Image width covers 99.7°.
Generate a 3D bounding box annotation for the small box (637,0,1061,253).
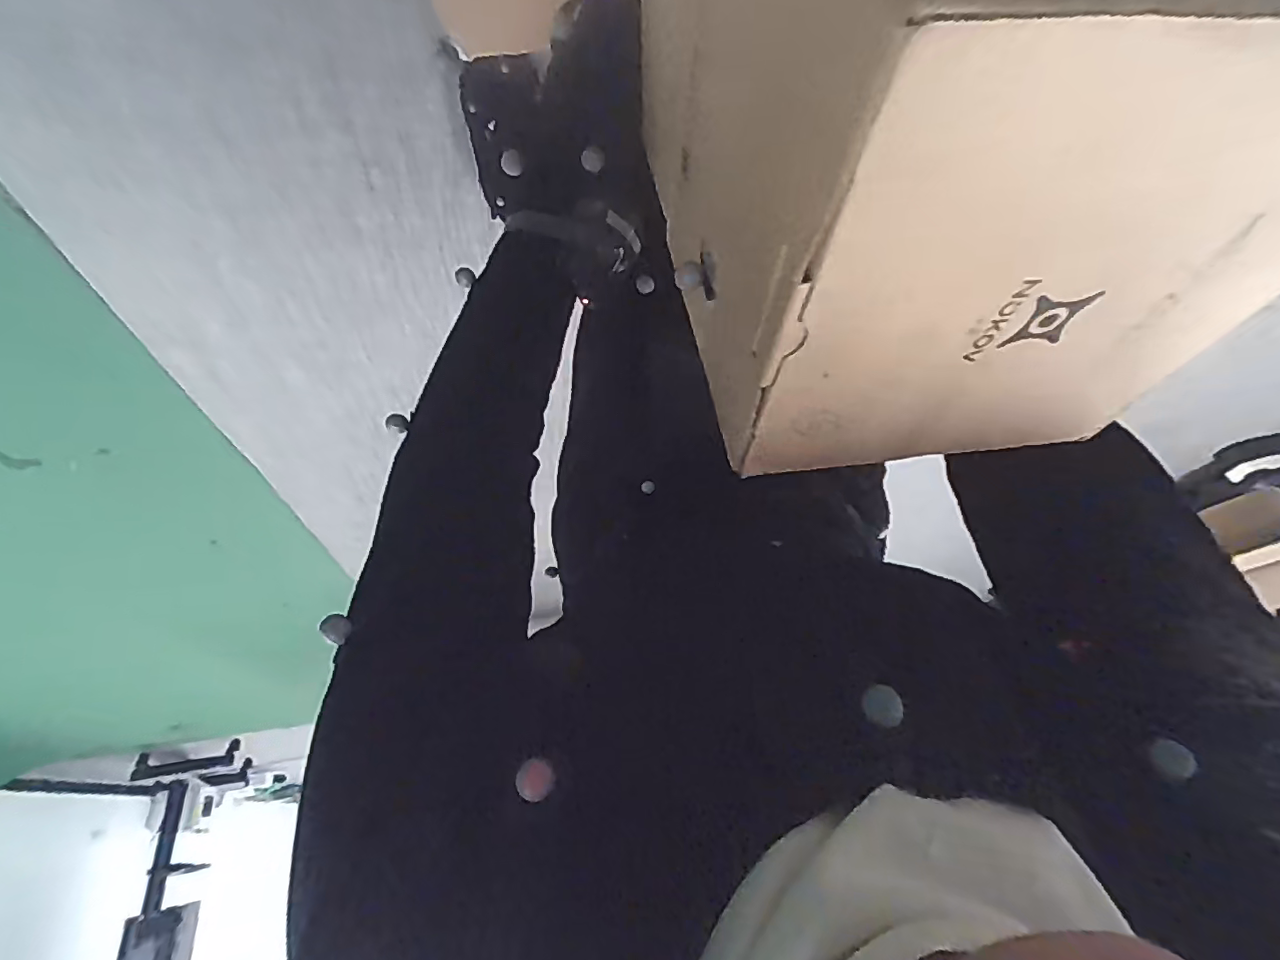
[{"bbox_3d":[0.090,-0.254,0.291,0.168,0.176,0.179,-7,149,-3],"label":"small box"}]
